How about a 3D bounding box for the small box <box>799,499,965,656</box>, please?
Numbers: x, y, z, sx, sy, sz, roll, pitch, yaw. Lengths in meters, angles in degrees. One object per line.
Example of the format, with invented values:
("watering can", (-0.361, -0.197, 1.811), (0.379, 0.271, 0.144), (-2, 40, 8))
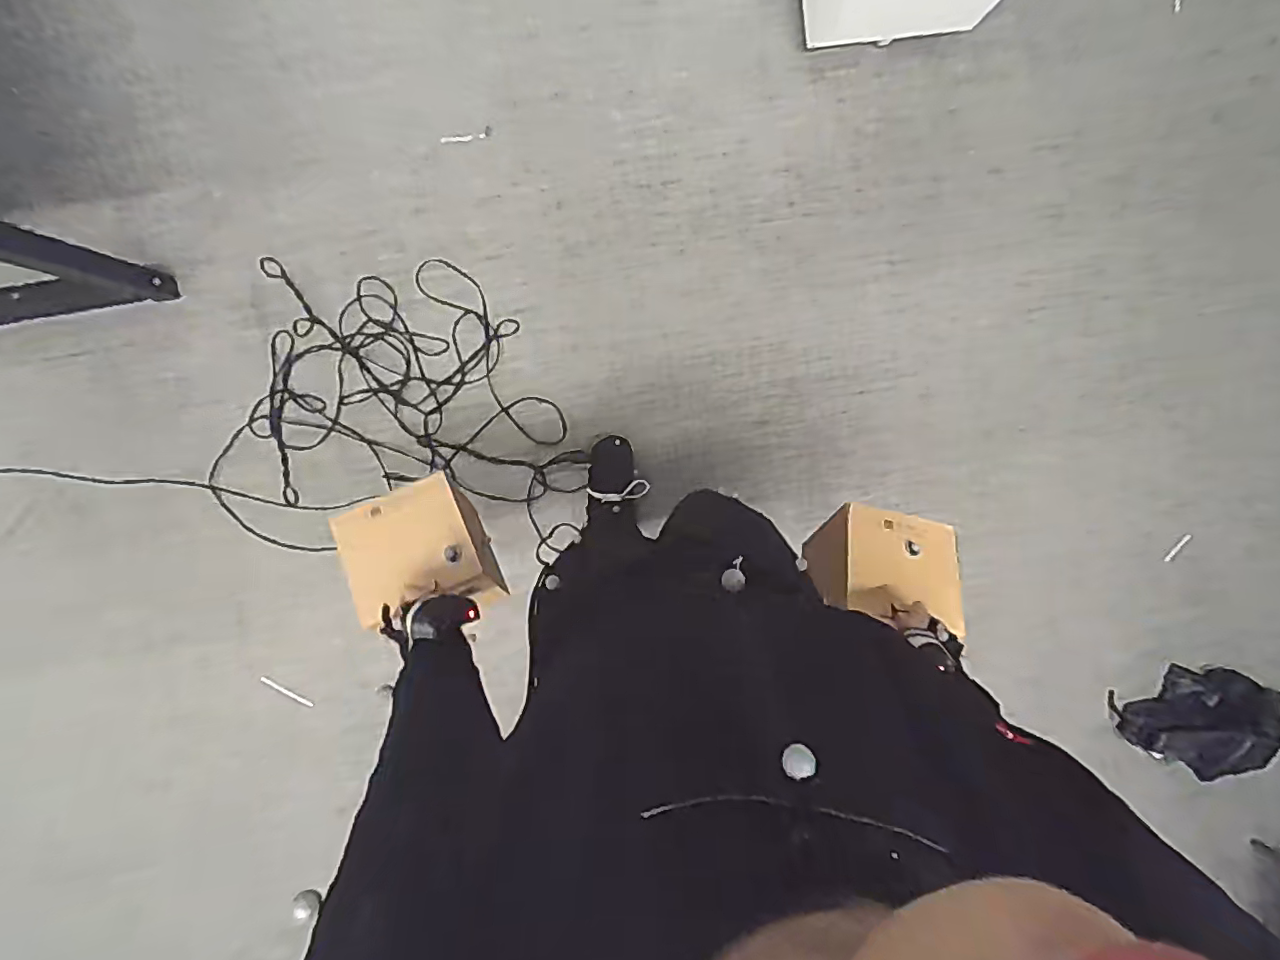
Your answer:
("small box", (0.358, 0.151, 0.823), (0.168, 0.179, 0.176), (13, 61, -2))
